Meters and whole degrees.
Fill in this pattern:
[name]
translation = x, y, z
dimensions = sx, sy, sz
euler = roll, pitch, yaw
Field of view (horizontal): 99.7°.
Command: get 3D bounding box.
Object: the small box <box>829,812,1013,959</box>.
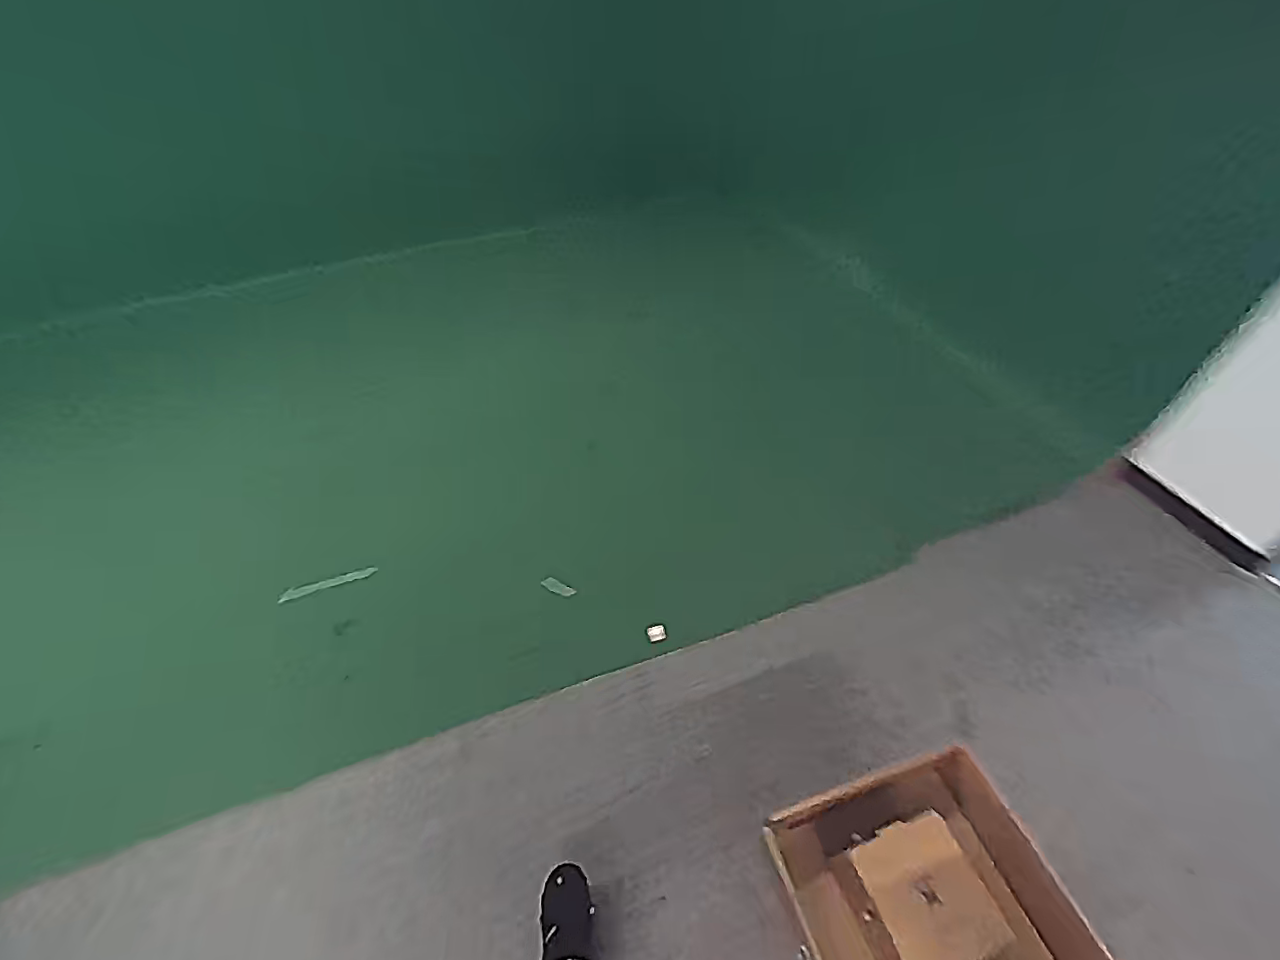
[small box]
translation = 0.430, 0.668, 0.867
dimensions = 0.168, 0.176, 0.179
euler = -16, 53, -9
